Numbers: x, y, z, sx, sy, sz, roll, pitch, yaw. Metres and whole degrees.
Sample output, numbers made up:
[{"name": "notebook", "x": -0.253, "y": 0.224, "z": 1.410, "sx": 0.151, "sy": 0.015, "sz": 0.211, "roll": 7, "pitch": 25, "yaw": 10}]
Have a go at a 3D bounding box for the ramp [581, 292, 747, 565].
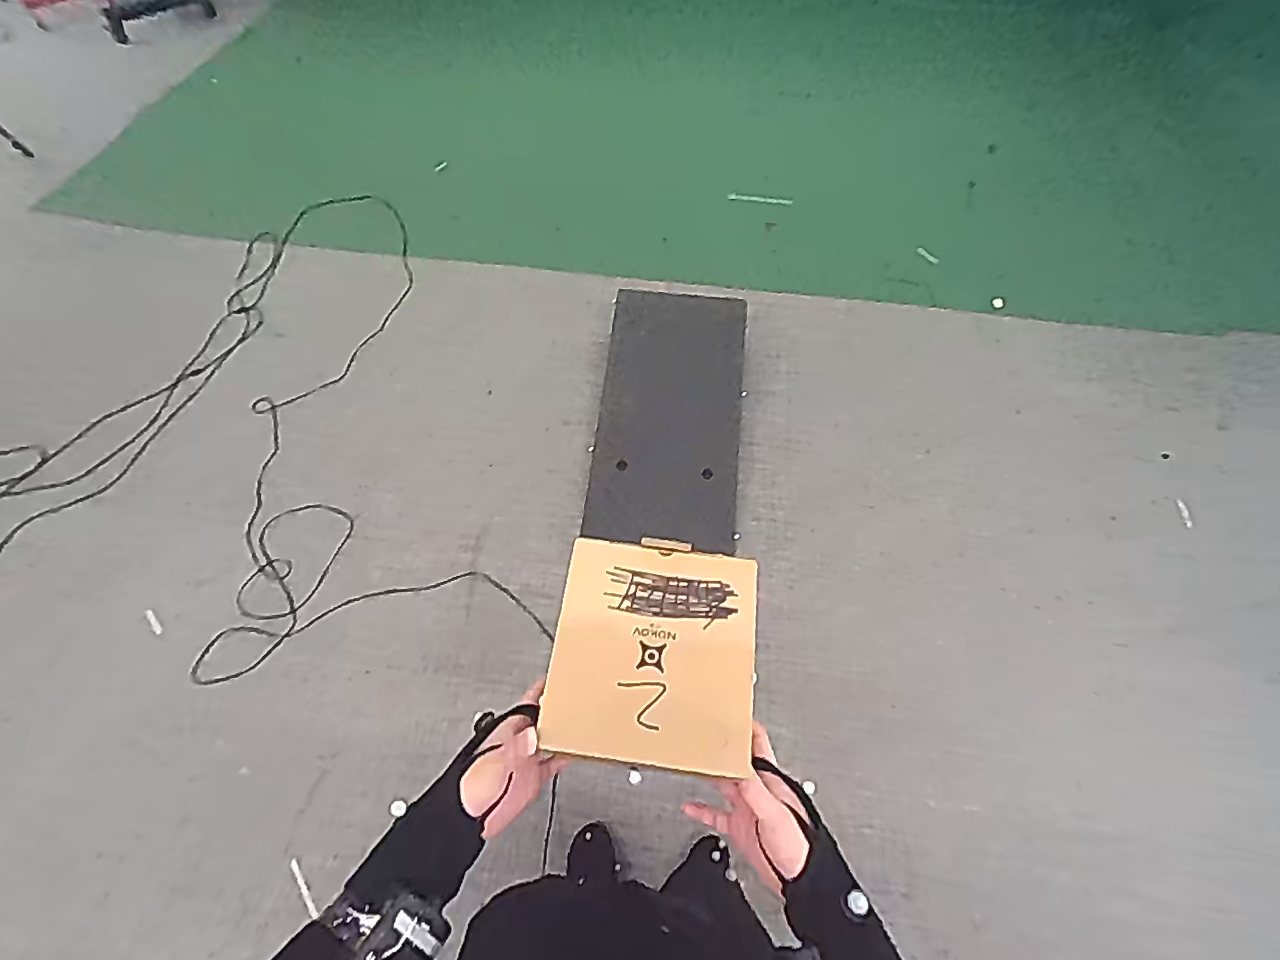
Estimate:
[{"name": "ramp", "x": 0.108, "y": -0.219, "z": 1.859, "sx": 0.509, "sy": 0.206, "sz": 0.991, "roll": 5, "pitch": 60, "yaw": 1}]
